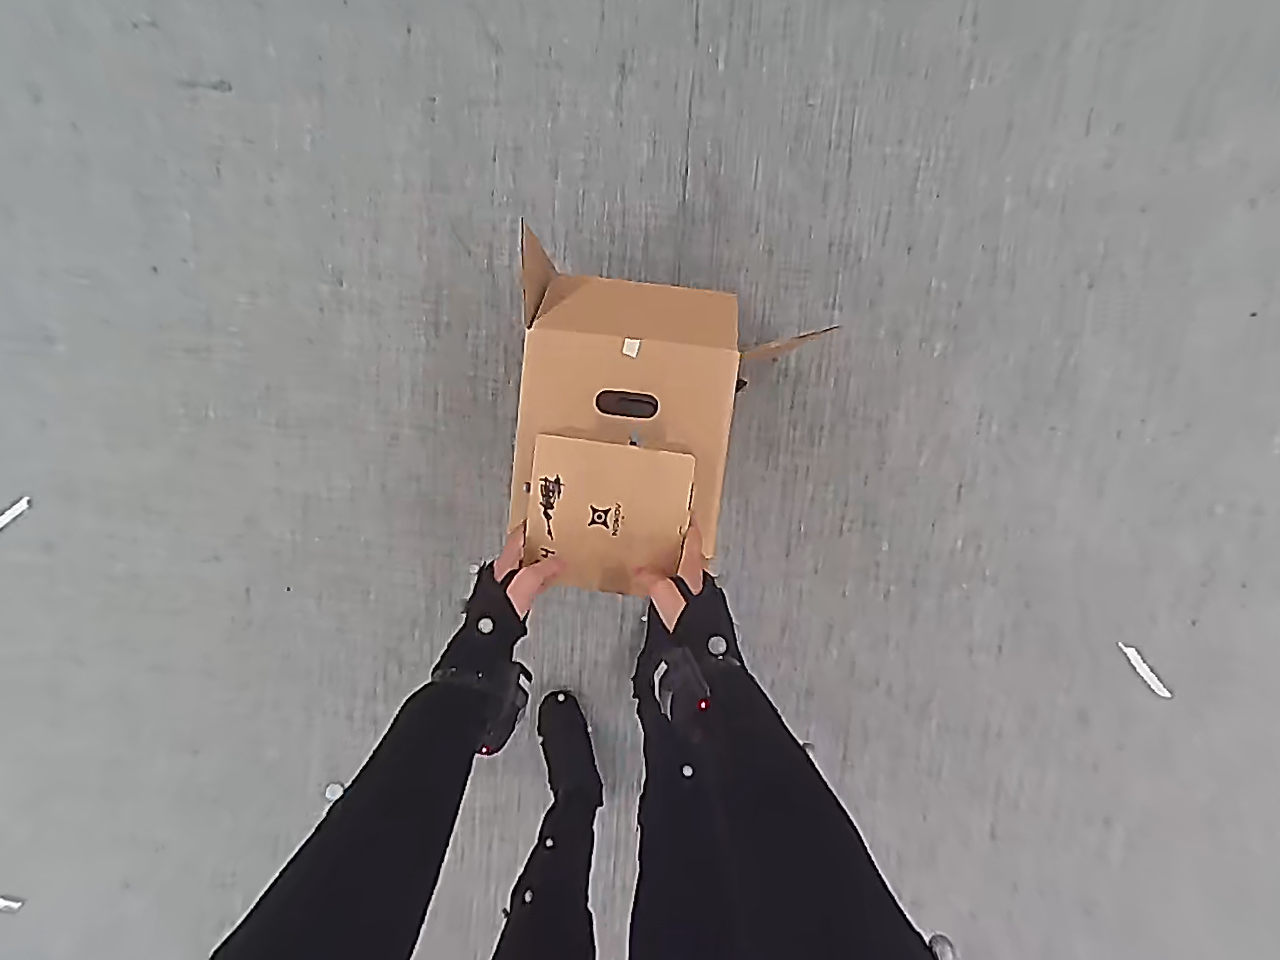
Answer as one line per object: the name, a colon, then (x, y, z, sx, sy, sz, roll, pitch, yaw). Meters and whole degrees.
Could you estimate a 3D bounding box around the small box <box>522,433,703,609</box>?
small box: (-0.030, 0.038, 0.655, 0.179, 0.176, 0.168, 8, 98, 0)
